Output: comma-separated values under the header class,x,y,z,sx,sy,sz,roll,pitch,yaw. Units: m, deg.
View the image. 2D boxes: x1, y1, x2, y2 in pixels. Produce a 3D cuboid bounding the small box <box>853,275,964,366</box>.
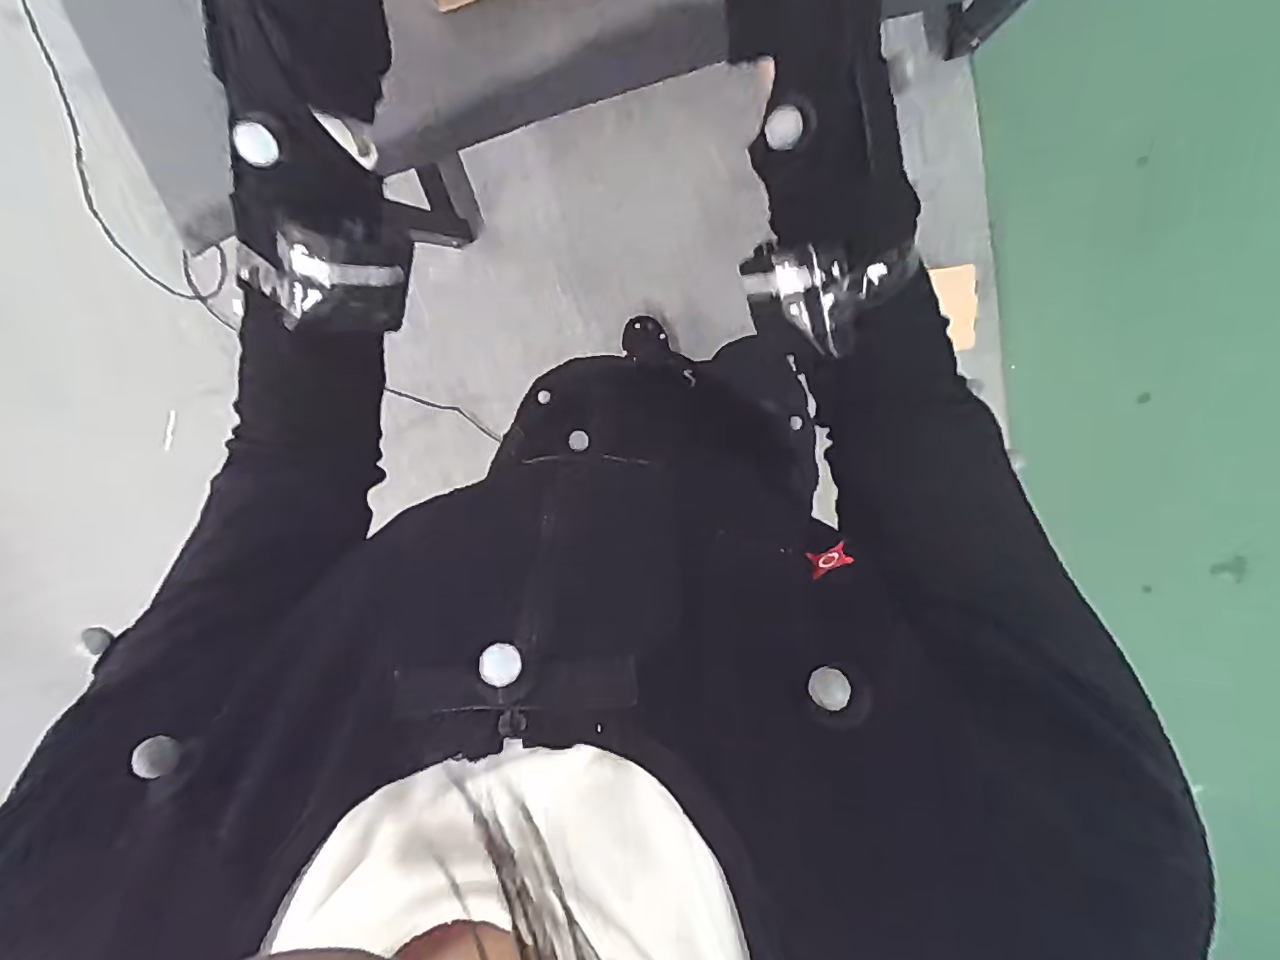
class,x,y,z,sx,sy,sz,roll,pitch,yaw
small box,0.576,-0.349,1.180,0.179,0.176,0.168,-5,107,10
